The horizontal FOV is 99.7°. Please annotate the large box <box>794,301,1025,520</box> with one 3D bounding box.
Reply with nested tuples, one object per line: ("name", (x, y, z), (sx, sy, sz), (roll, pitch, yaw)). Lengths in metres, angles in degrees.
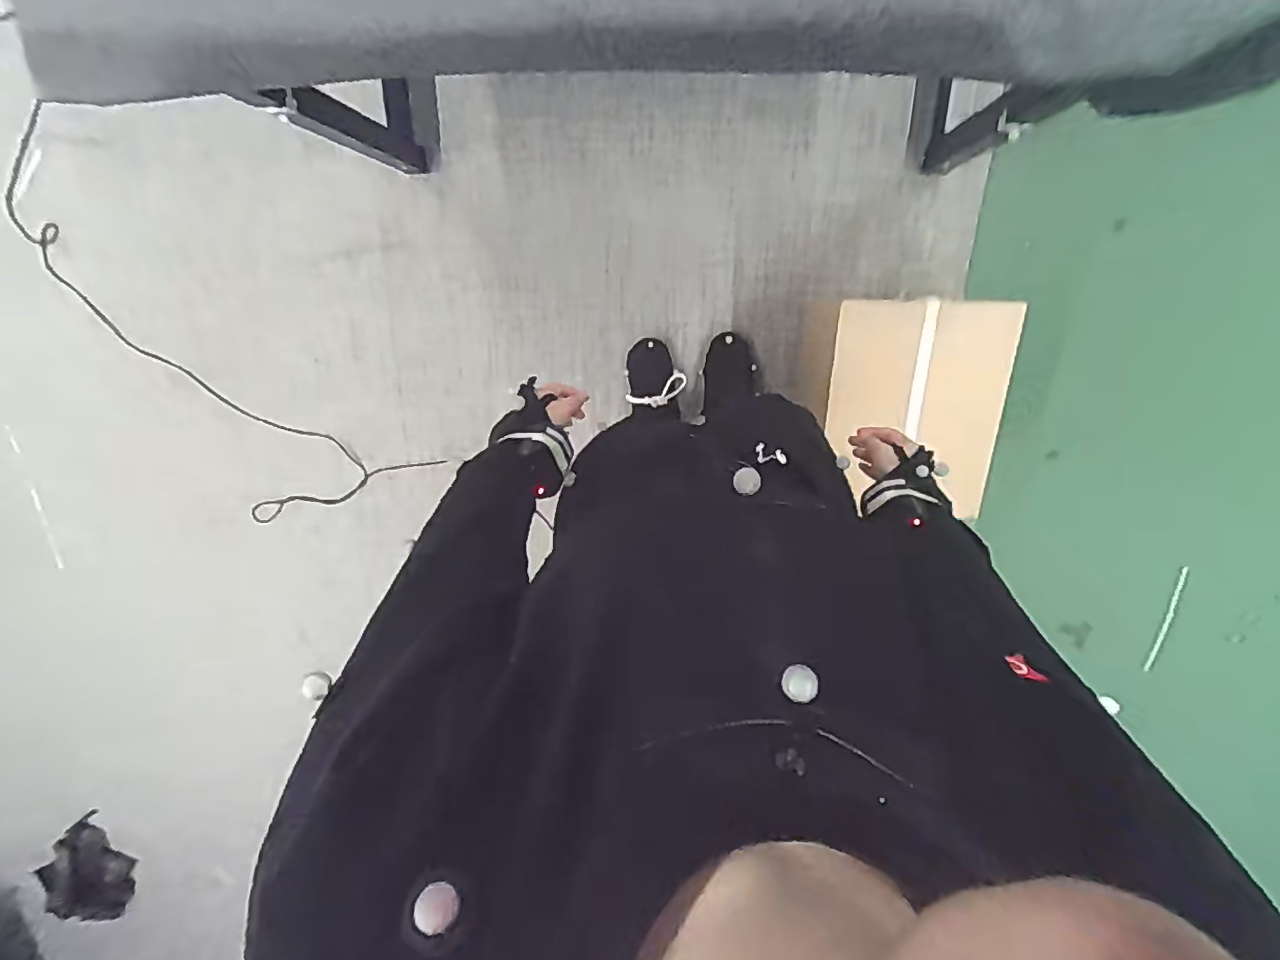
("large box", (0.520, -0.161, 1.132), (0.320, 0.320, 0.408), (2, 108, 6))
